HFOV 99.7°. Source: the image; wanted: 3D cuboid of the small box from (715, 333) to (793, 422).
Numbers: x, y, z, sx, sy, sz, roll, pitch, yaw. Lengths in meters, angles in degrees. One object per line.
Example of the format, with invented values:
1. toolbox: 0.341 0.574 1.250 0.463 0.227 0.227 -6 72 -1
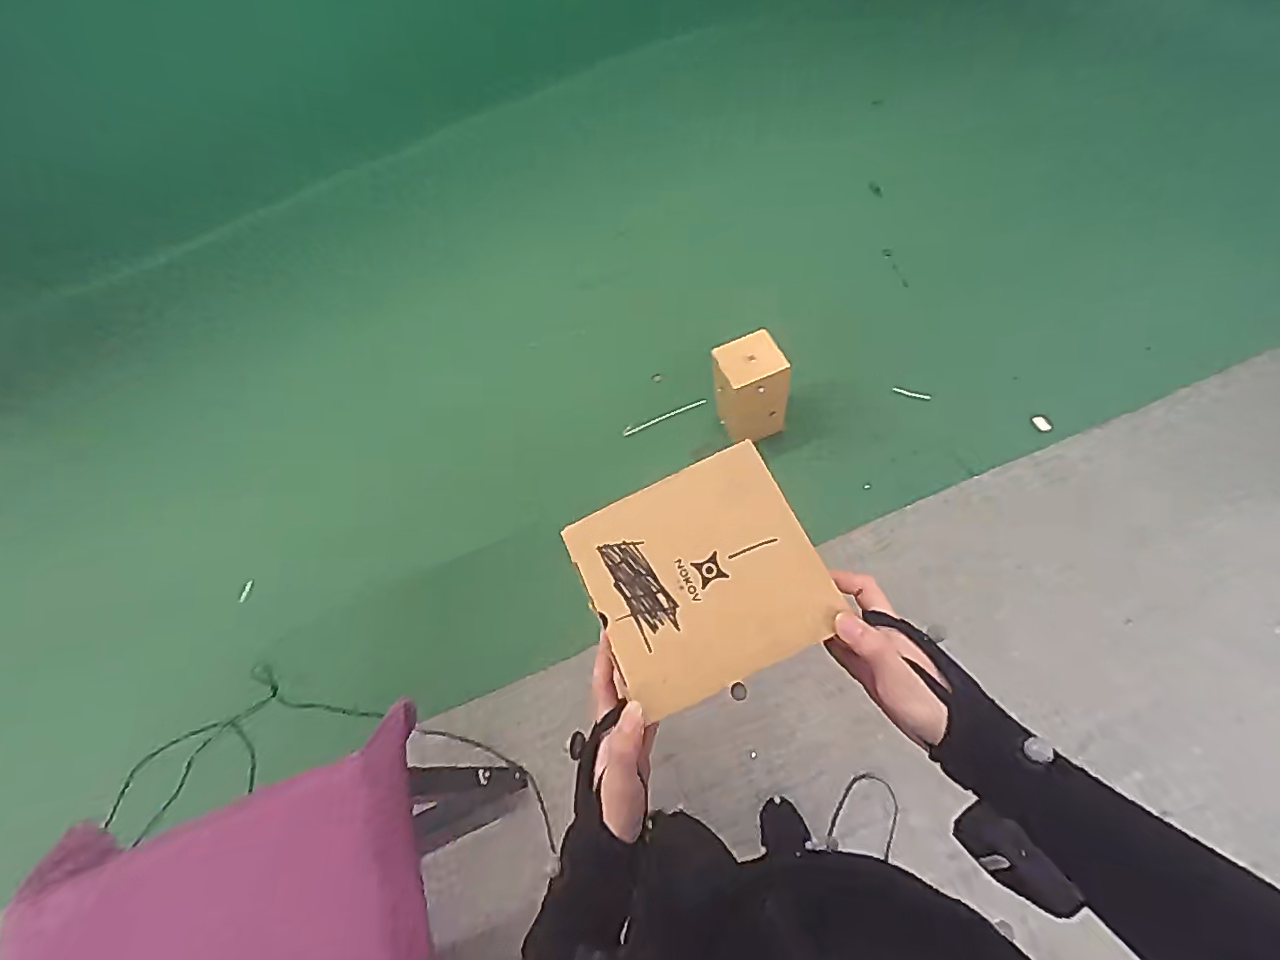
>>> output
1. small box: 0.342 -0.306 1.638 0.179 0.176 0.168 -23 60 0

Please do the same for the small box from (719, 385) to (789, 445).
1. small box: 0.371 -0.232 1.780 0.179 0.176 0.168 -21 59 0

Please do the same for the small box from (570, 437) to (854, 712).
1. small box: 0.062 0.094 0.493 0.179 0.176 0.168 -24 69 0
